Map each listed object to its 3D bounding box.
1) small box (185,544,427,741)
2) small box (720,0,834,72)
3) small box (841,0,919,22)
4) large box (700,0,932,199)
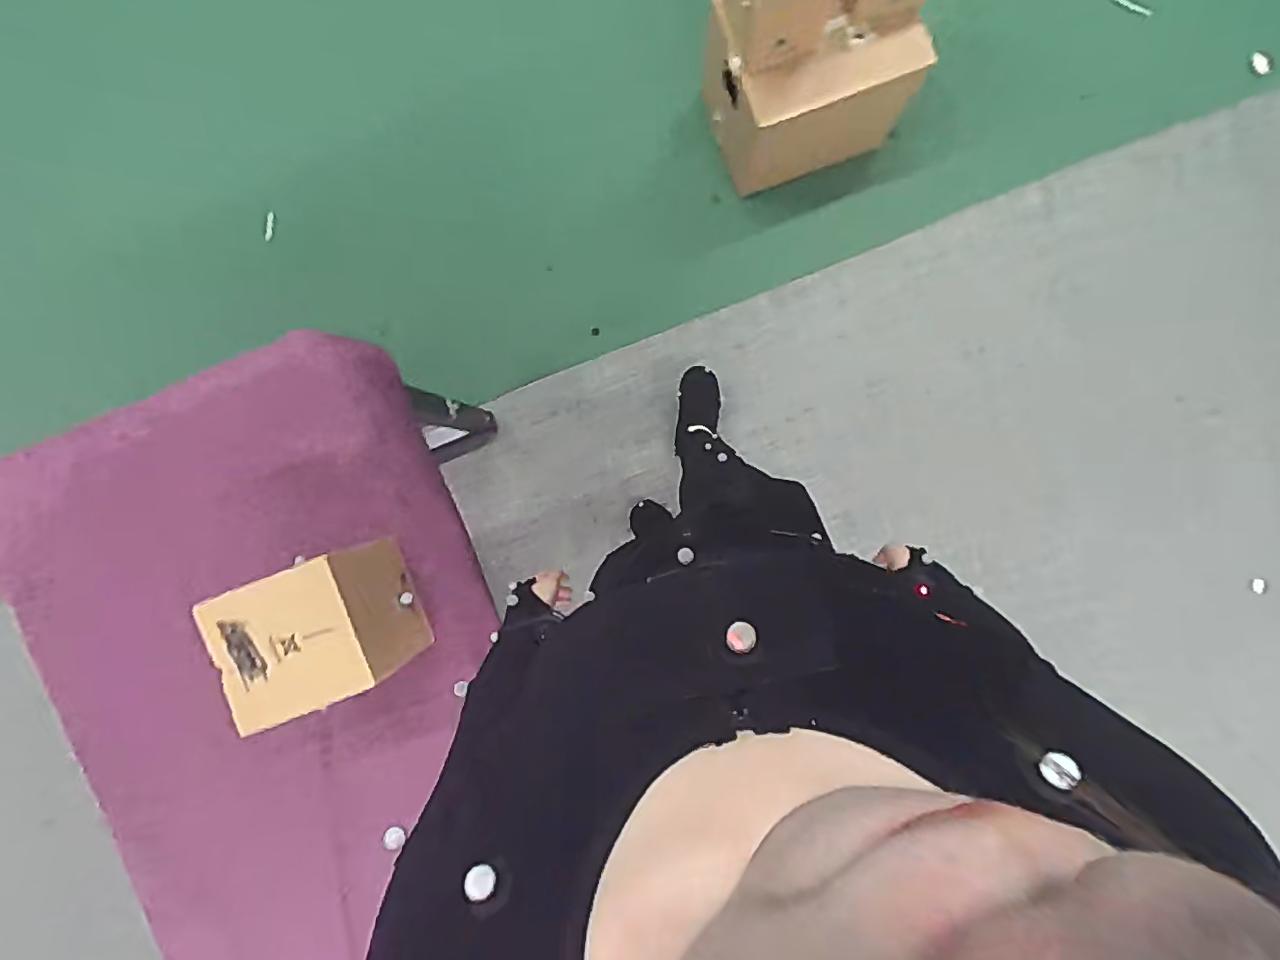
[{"bbox_3d":[-0.410,0.194,0.695,0.179,0.176,0.168,-21,90,2],"label":"small box"},{"bbox_3d":[0.267,-0.972,1.072,0.168,0.176,0.179,-20,90,2],"label":"small box"},{"bbox_3d":[0.499,-1.063,1.060,0.179,0.176,0.168,-15,90,3],"label":"small box"},{"bbox_3d":[0.393,-0.964,1.310,0.408,0.320,0.320,-20,91,1],"label":"large box"}]
